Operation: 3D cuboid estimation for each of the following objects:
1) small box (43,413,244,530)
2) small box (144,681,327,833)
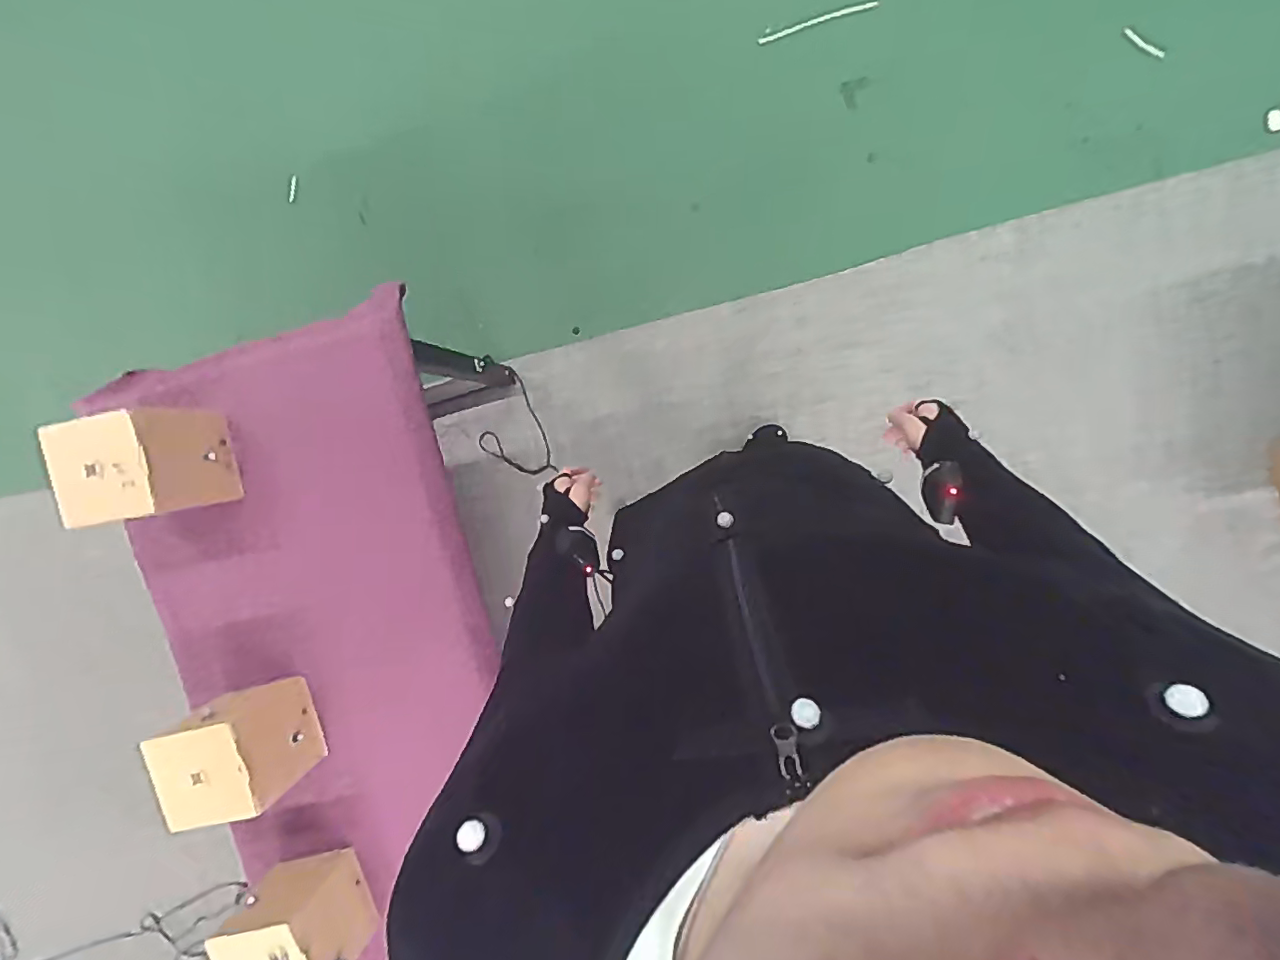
[{"bbox_3d":[-0.838,-0.019,0.928,0.179,0.176,0.168,-10,95,8],"label":"small box"},{"bbox_3d":[-0.709,0.484,0.965,0.179,0.176,0.168,-15,93,8],"label":"small box"}]
